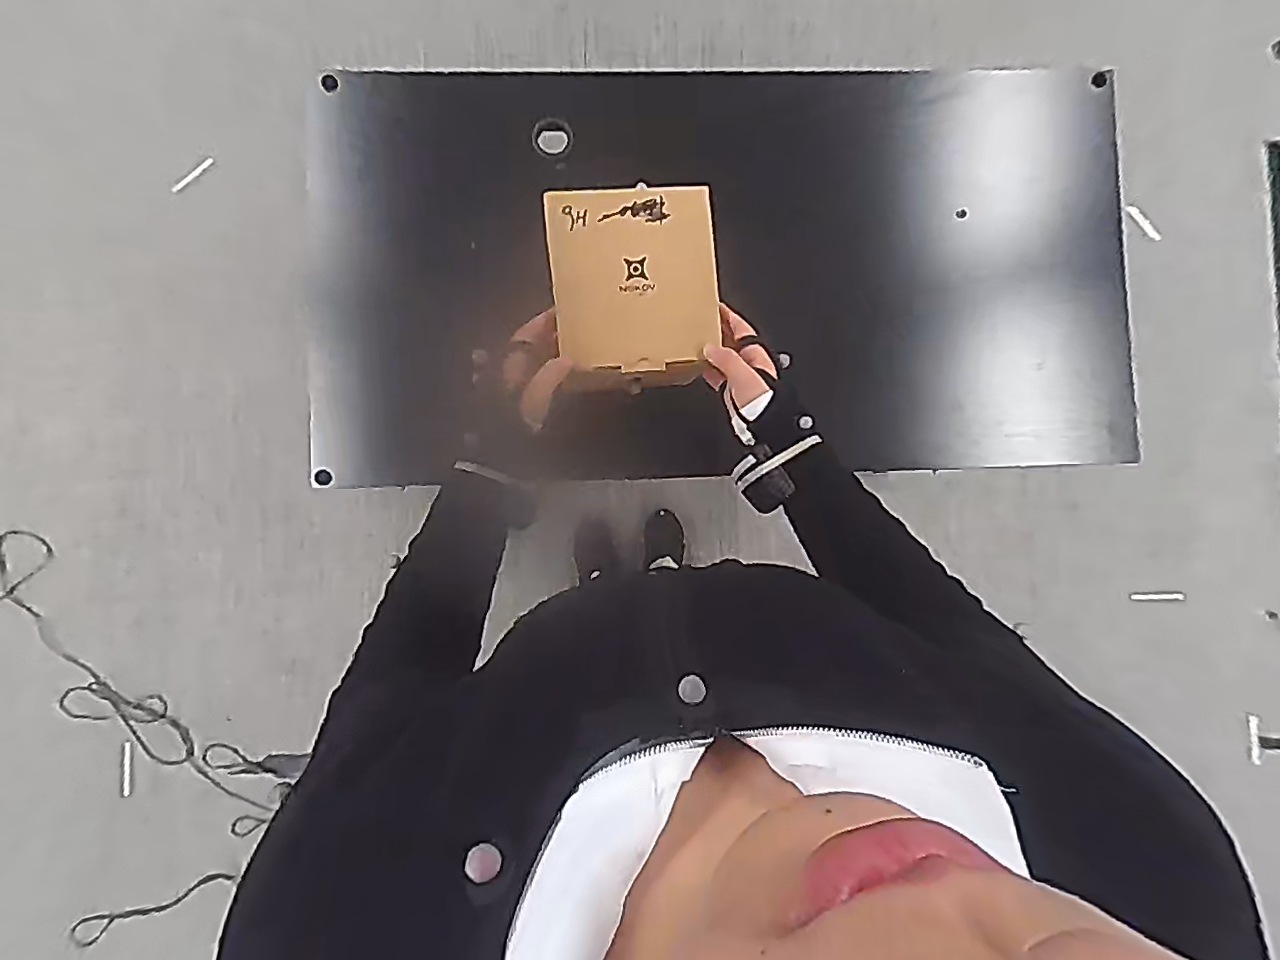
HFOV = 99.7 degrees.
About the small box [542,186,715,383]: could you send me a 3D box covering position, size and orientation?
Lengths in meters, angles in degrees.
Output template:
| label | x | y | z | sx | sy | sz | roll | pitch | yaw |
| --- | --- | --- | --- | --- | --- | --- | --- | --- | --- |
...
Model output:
| label | x | y | z | sx | sy | sz | roll | pitch | yaw |
| --- | --- | --- | --- | --- | --- | --- | --- | --- | --- |
| small box | -0.018 | -0.209 | 0.623 | 0.168 | 0.176 | 0.179 | -6 | 93 | -6 |
